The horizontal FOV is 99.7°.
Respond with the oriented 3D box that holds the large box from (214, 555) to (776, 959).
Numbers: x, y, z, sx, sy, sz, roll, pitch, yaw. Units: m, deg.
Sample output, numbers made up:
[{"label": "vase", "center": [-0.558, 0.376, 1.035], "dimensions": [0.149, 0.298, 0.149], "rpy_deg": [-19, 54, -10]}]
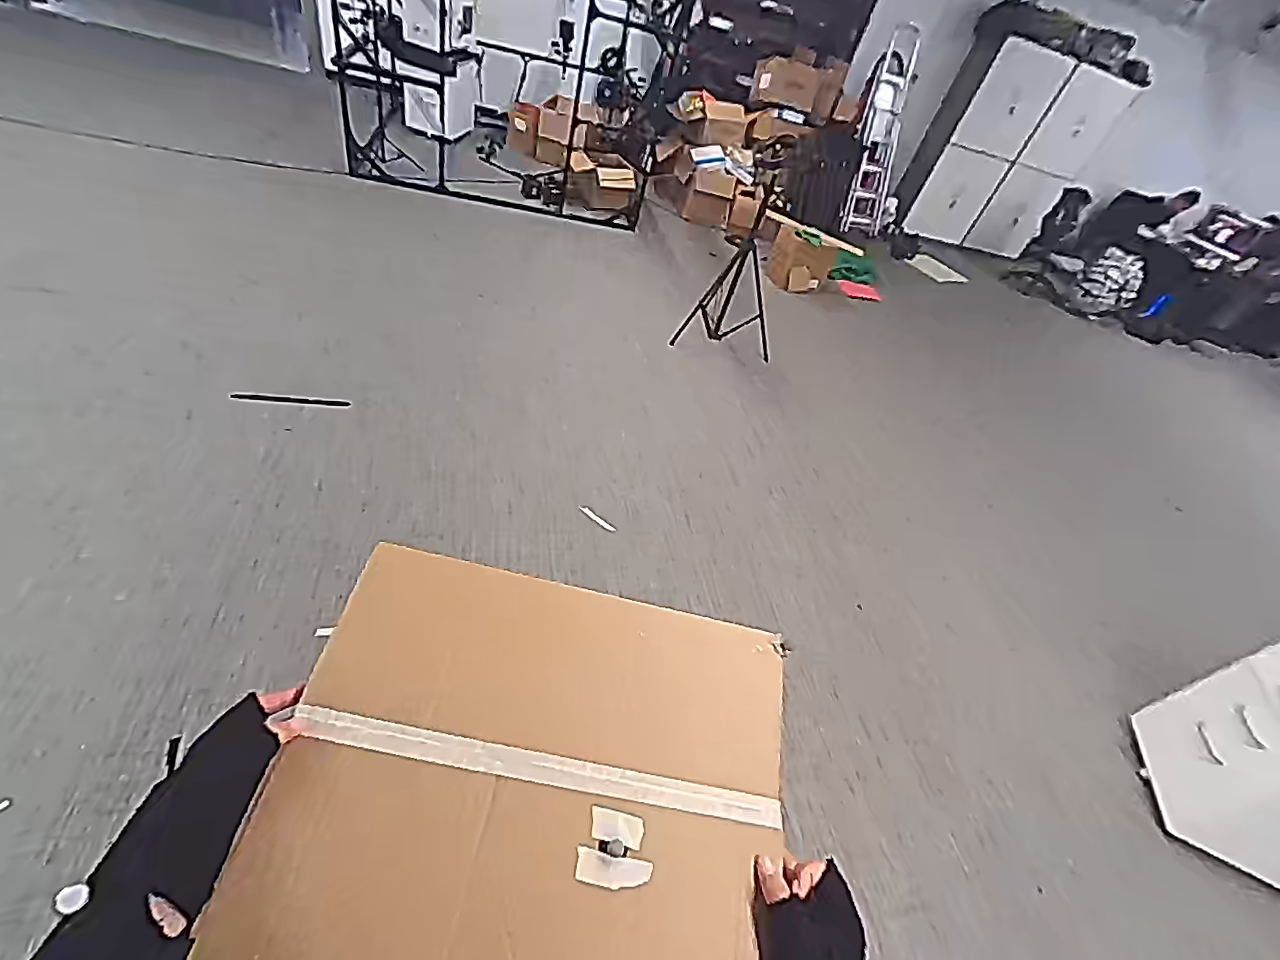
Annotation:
[{"label": "large box", "center": [-0.106, 0.319, 0.582], "dimensions": [0.408, 0.320, 0.320], "rpy_deg": [14, 57, -5]}]
